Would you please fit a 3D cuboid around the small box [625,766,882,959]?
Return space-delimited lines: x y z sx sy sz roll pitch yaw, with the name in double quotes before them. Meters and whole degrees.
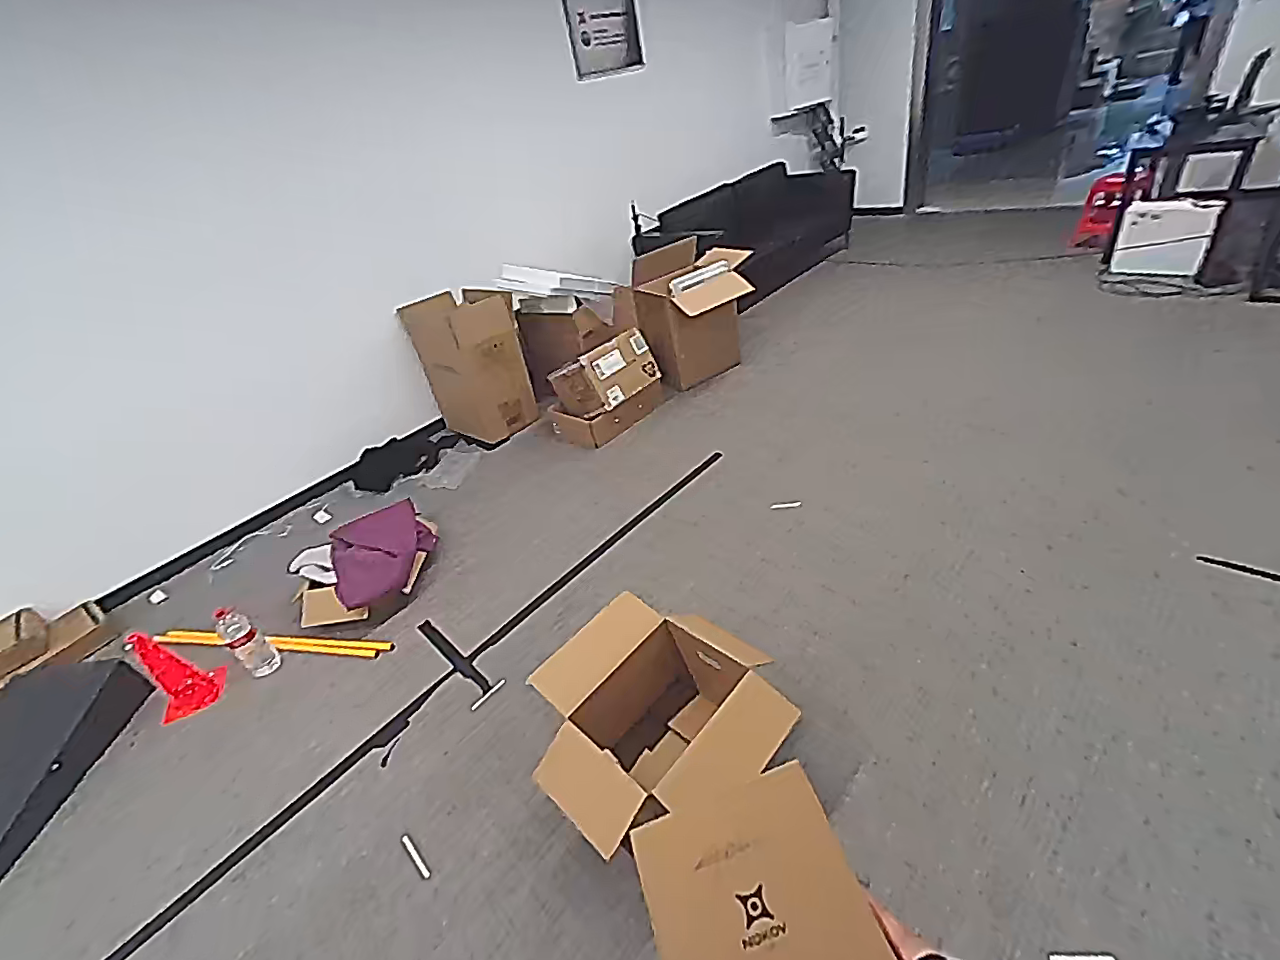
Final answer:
"small box" 0.104 0.396 0.482 0.168 0.176 0.179 -21 44 -4
